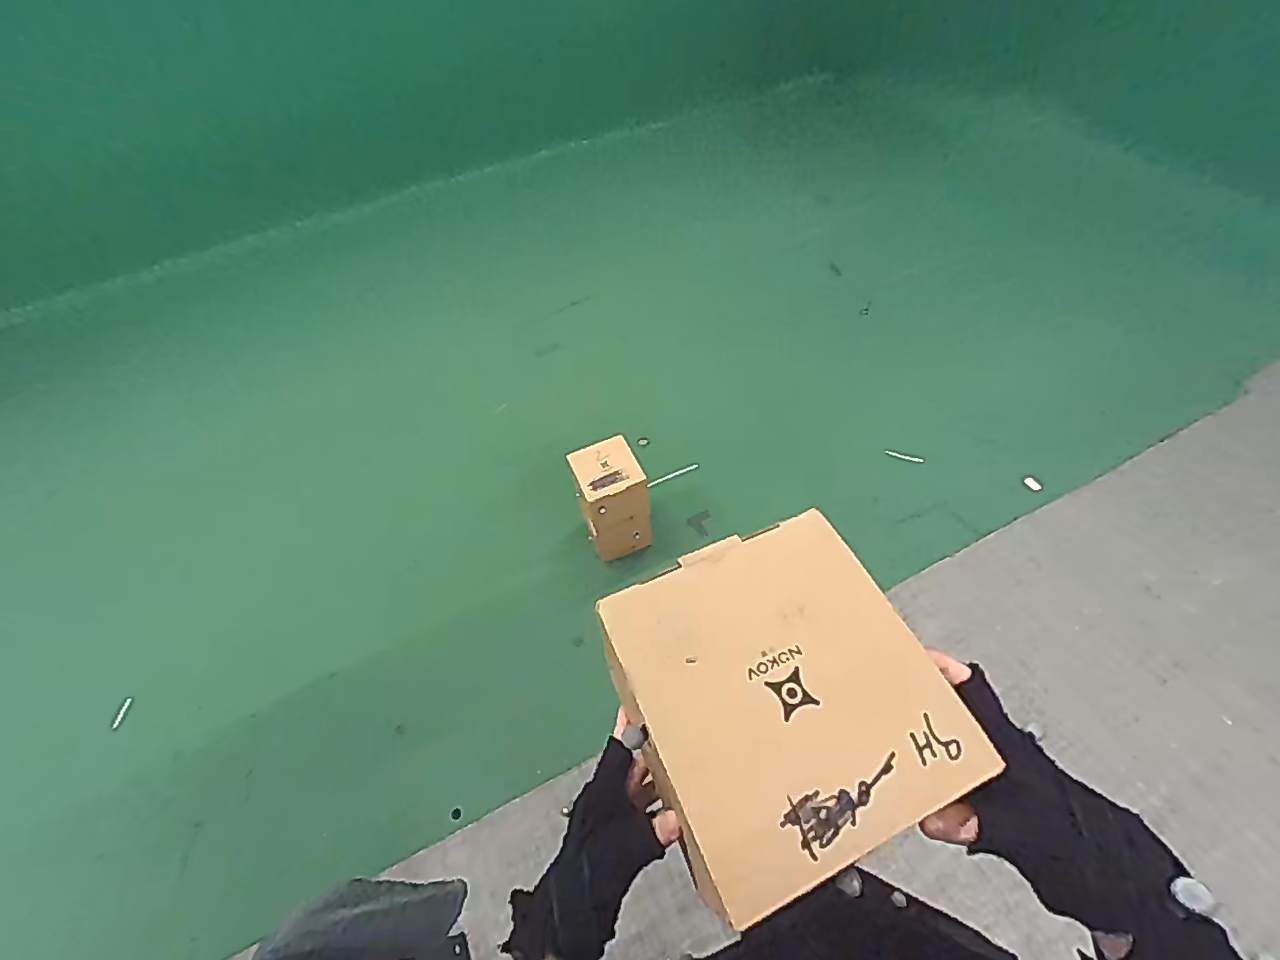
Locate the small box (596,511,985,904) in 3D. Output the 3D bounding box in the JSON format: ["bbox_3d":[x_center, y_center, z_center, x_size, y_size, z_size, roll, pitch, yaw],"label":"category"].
[{"bbox_3d":[0.079,0.157,0.383,0.168,0.176,0.179,-22,58,-13],"label":"small box"}]

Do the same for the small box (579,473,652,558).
[{"bbox_3d":[-0.071,0.115,1.630,0.168,0.176,0.179,-20,55,-9],"label":"small box"}]
